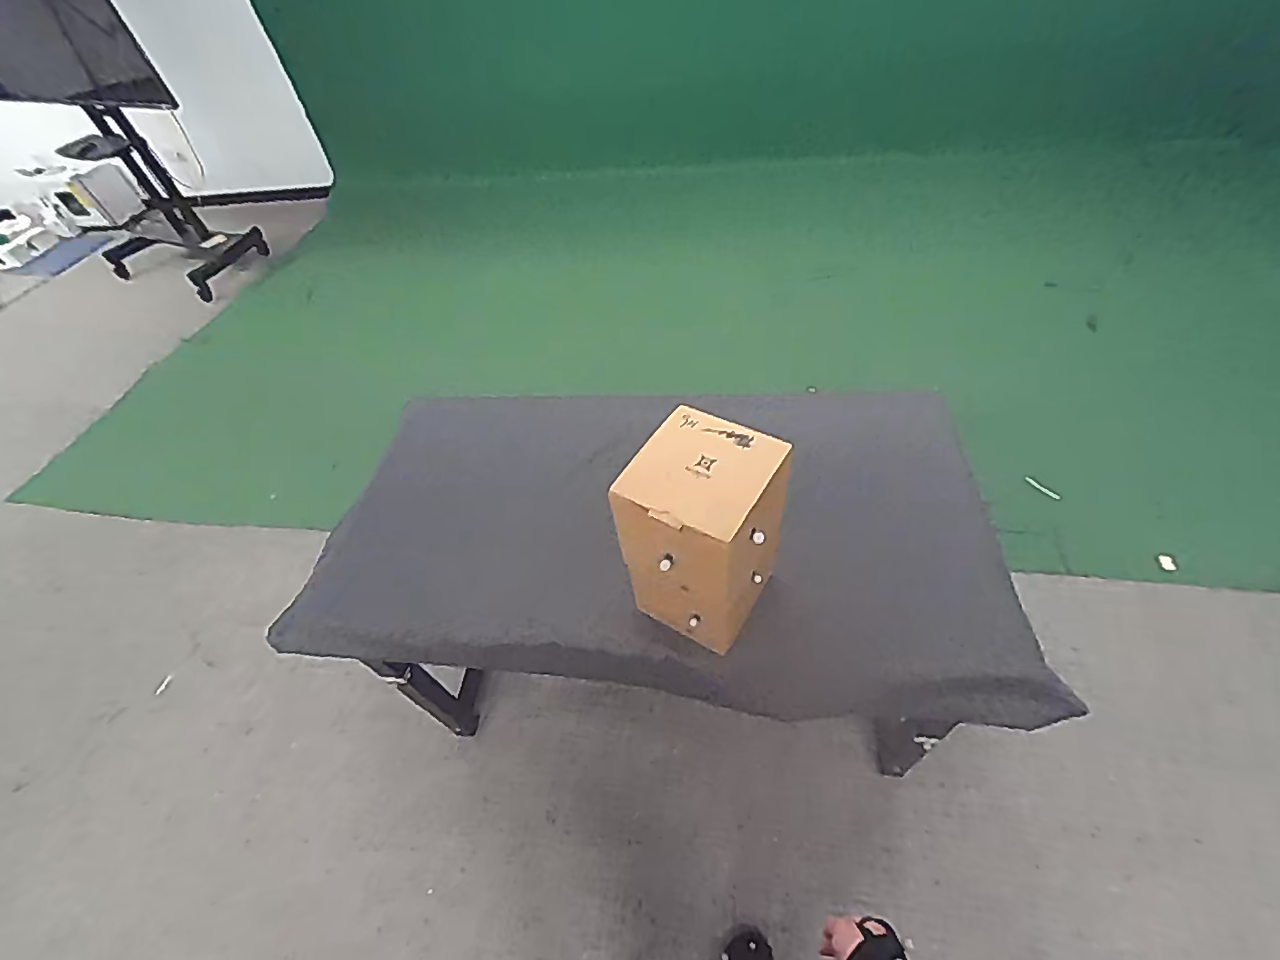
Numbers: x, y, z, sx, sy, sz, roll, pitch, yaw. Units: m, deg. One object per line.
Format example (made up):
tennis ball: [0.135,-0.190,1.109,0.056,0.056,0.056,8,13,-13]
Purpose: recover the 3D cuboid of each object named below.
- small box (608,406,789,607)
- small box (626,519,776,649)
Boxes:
small box: [0.083,0.038,0.722,0.168,0.176,0.179,24,58,24]
small box: [0.100,0.134,0.855,0.168,0.176,0.179,24,56,24]
